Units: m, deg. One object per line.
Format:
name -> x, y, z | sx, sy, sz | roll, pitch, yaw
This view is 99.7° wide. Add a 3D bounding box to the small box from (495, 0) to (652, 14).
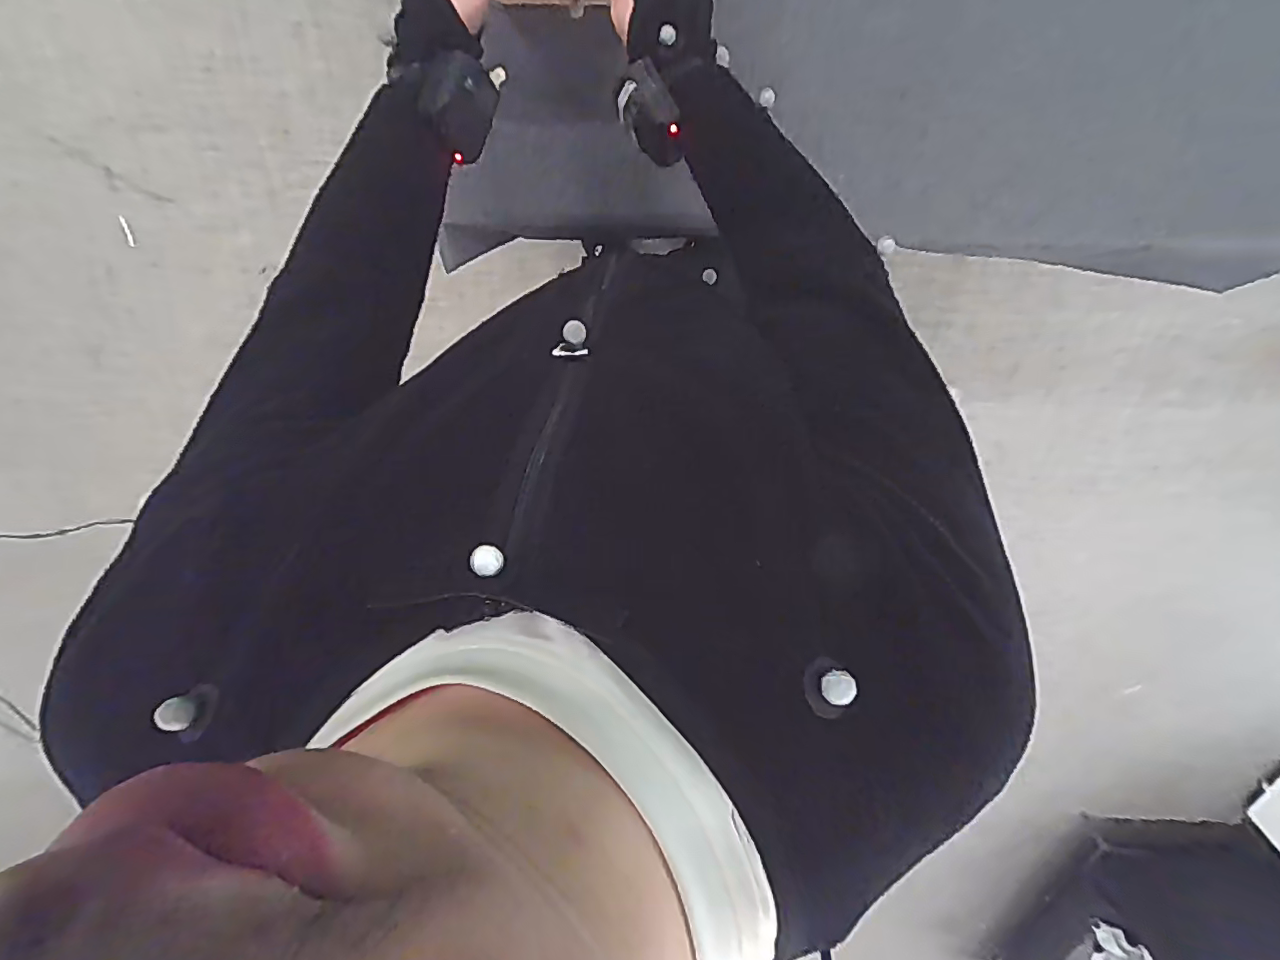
small box -> -0.064, -0.534, 0.474 | 0.179, 0.176, 0.168 | 0, 122, 0
